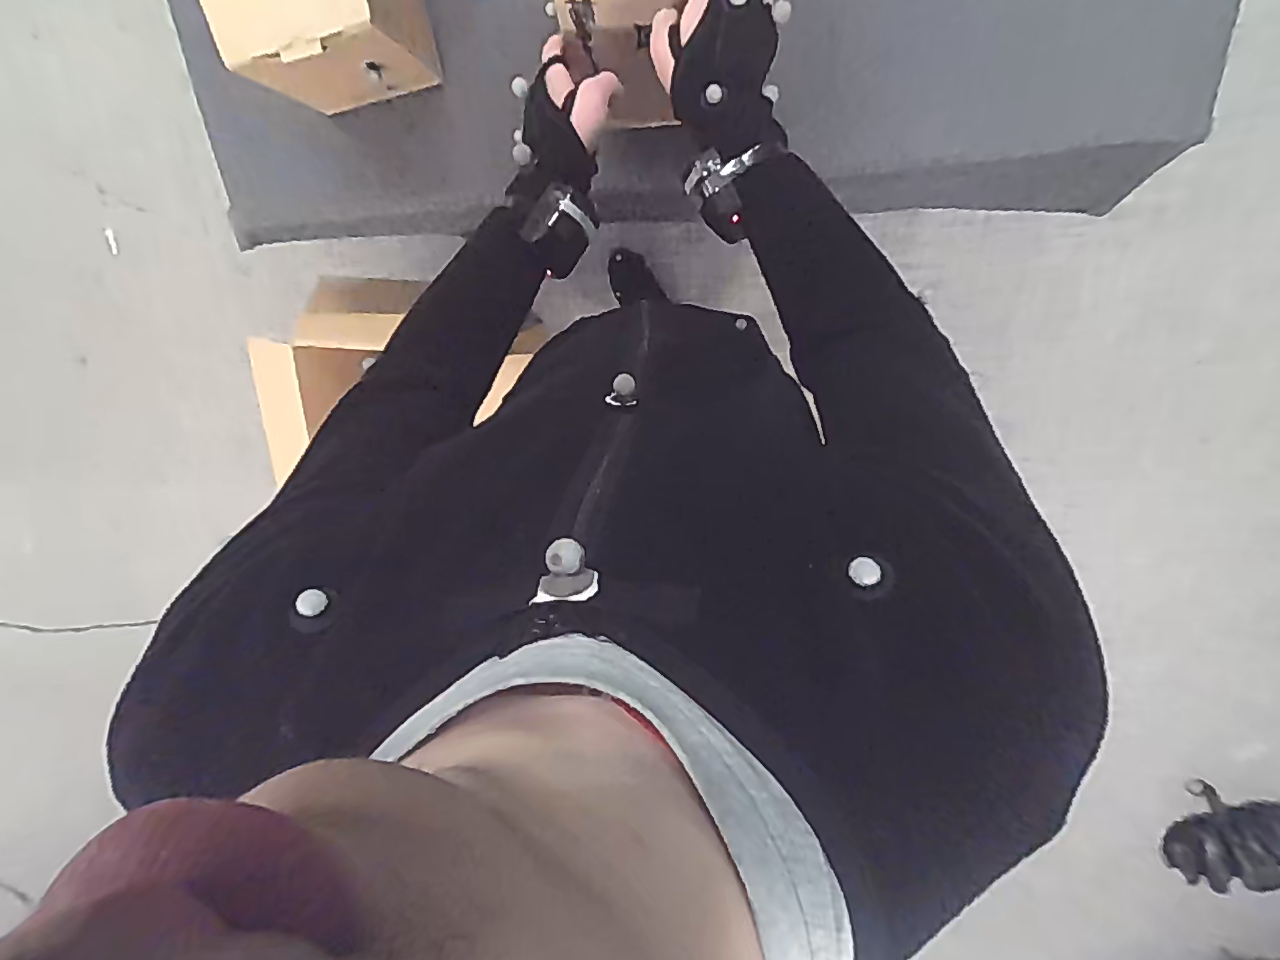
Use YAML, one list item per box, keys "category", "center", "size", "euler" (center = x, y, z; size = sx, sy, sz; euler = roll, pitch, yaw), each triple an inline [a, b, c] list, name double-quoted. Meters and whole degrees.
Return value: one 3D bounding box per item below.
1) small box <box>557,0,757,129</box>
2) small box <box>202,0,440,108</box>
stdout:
- category: "small box"
  center: [0.019, -0.480, 0.522]
  size: [0.179, 0.168, 0.176]
  euler: [0, 66, 7]
- category: "small box"
  center: [-0.342, -0.529, 0.579]
  size: [0.168, 0.176, 0.179]
  euler: [-10, 108, 8]
